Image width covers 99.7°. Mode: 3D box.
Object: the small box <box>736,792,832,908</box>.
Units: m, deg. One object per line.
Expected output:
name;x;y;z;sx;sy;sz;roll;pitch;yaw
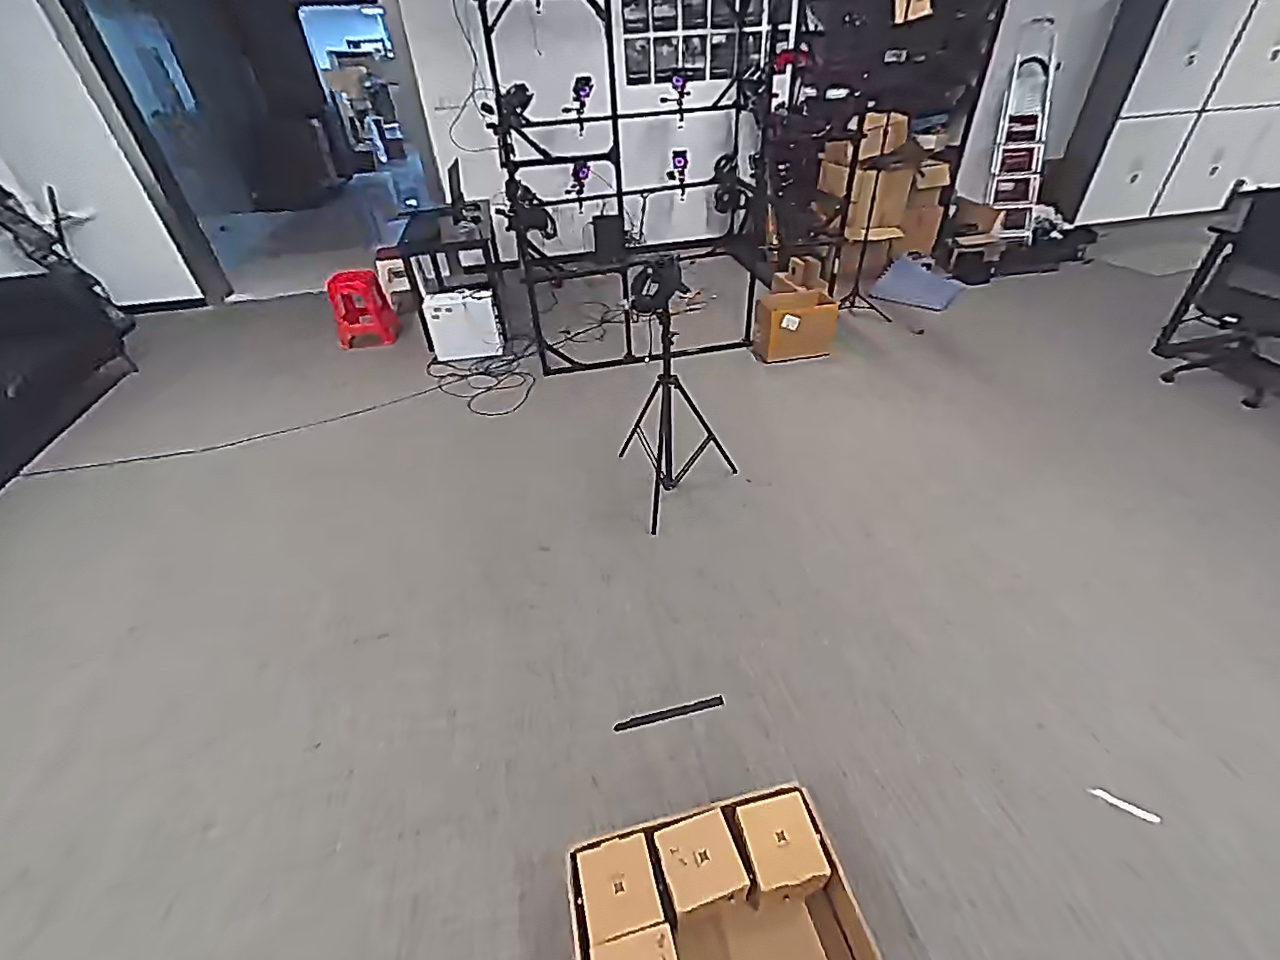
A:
small box;0.338;0.899;1.313;0.168;0.176;0.179;-11;42;-7
